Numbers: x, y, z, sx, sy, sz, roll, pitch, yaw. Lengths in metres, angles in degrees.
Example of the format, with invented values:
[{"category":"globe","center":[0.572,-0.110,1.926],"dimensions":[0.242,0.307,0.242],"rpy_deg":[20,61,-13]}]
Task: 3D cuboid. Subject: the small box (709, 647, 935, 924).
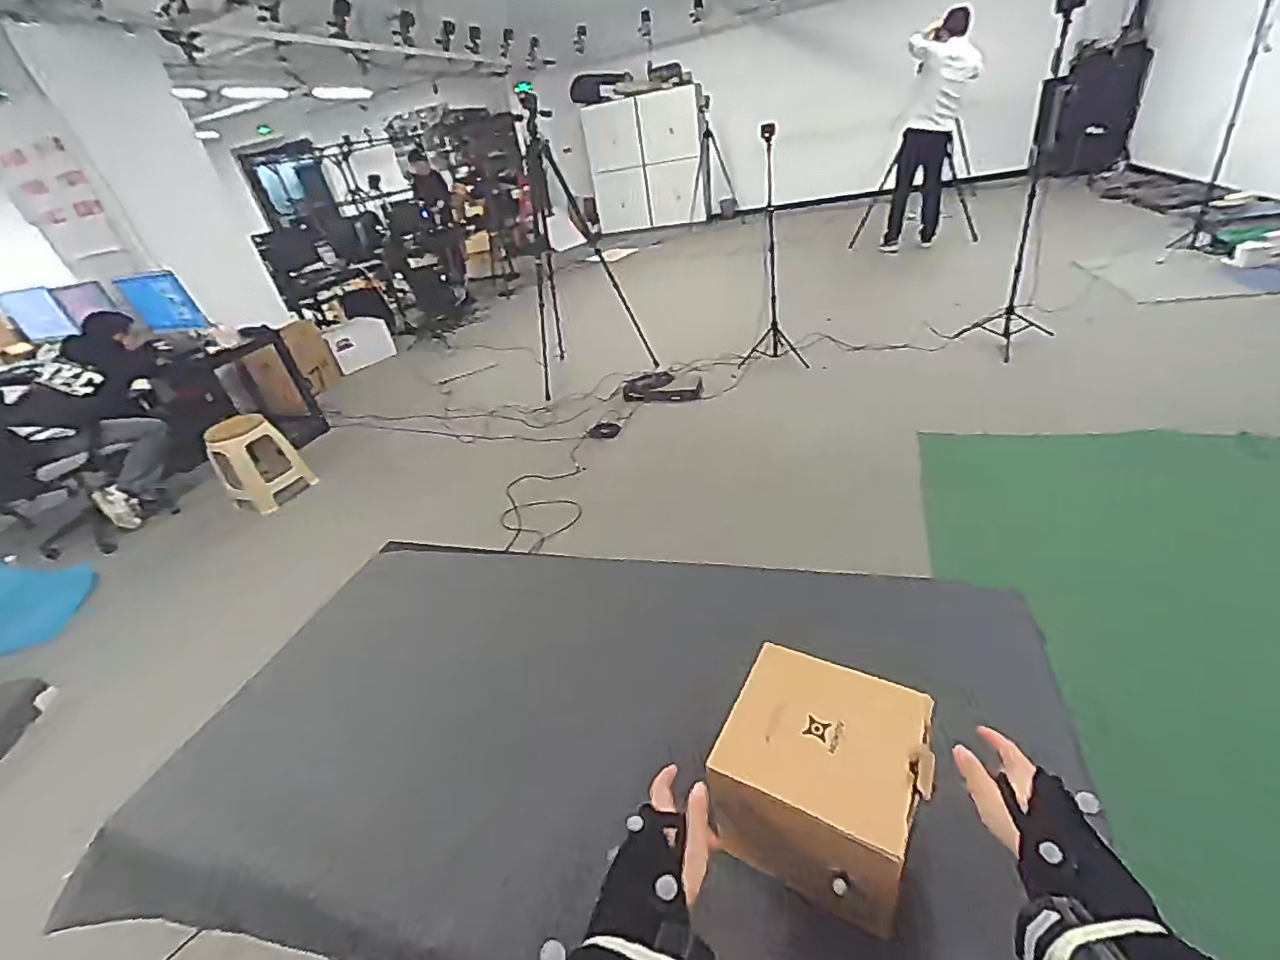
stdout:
[{"category":"small box","center":[0.192,0.314,0.567],"dimensions":[0.179,0.176,0.168],"rpy_deg":[9,37,31]}]
